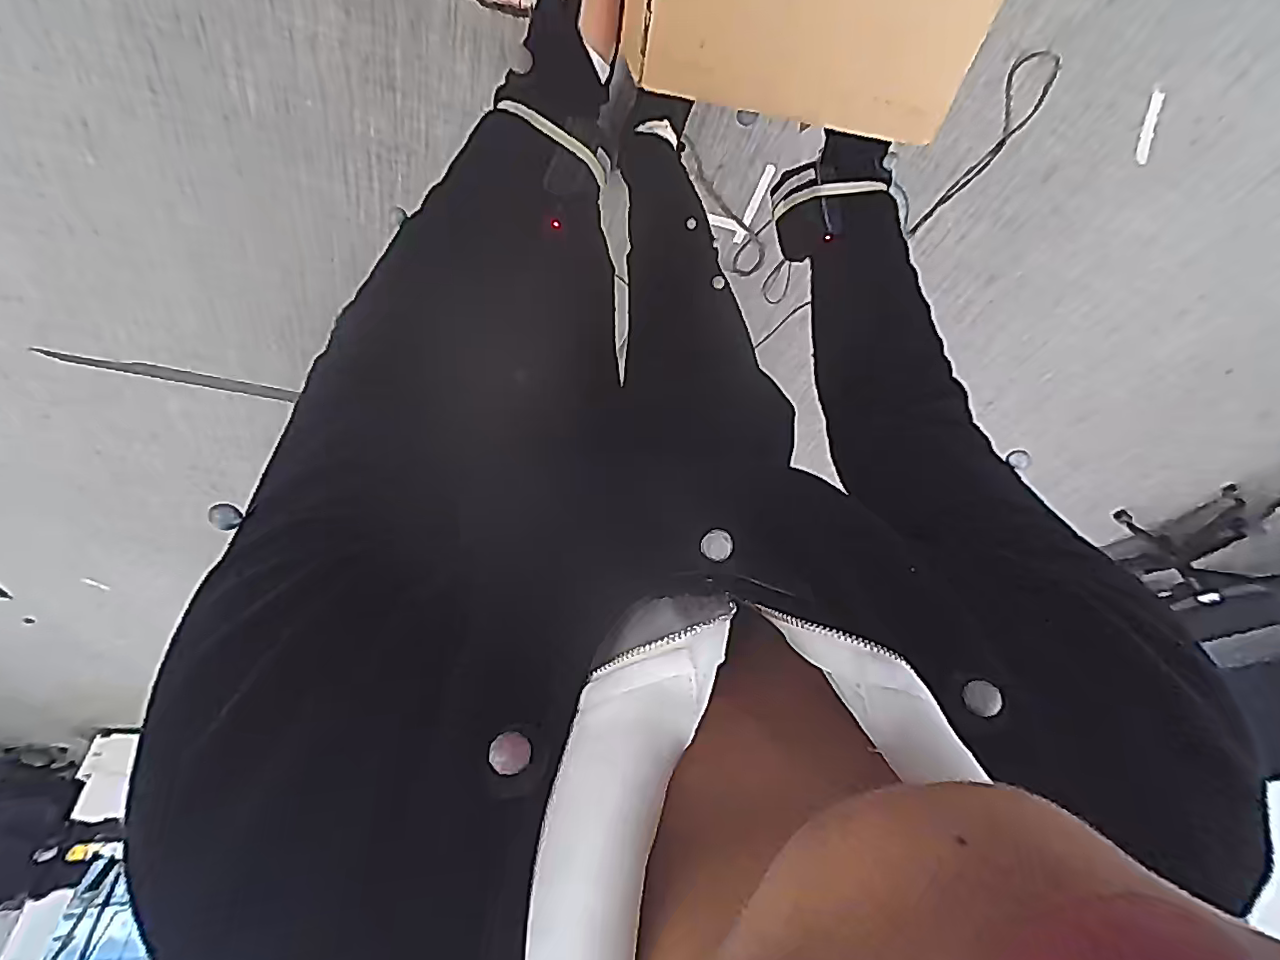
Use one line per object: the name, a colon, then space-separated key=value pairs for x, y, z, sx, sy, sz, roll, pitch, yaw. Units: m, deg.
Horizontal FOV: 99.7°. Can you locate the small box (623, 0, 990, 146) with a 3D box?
small box: x=0.089 y=-0.318 z=0.305 sx=0.179 sy=0.176 sz=0.168 roll=3 pitch=136 yaw=-12
